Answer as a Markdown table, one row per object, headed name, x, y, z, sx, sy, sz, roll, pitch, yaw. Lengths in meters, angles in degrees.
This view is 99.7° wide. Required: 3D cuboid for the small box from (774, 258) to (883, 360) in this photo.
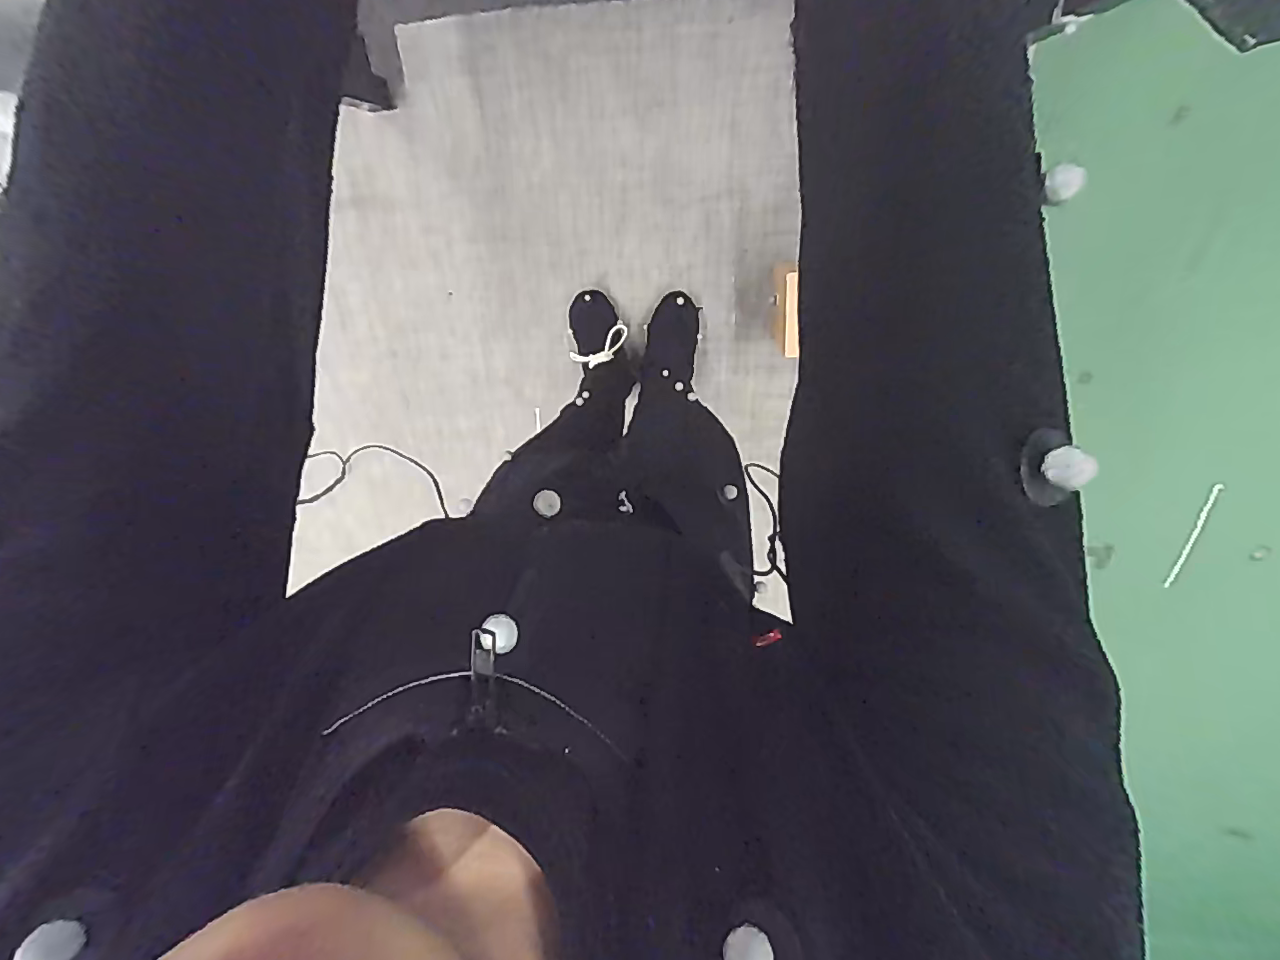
| name | x | y | z | sx | sy | sz | roll | pitch | yaw |
| --- | --- | --- | --- | --- | --- | --- | --- | --- | --- |
| small box | 0.377 | -0.354 | 1.109 | 0.179 | 0.176 | 0.168 | -3 | 116 | 8 |
